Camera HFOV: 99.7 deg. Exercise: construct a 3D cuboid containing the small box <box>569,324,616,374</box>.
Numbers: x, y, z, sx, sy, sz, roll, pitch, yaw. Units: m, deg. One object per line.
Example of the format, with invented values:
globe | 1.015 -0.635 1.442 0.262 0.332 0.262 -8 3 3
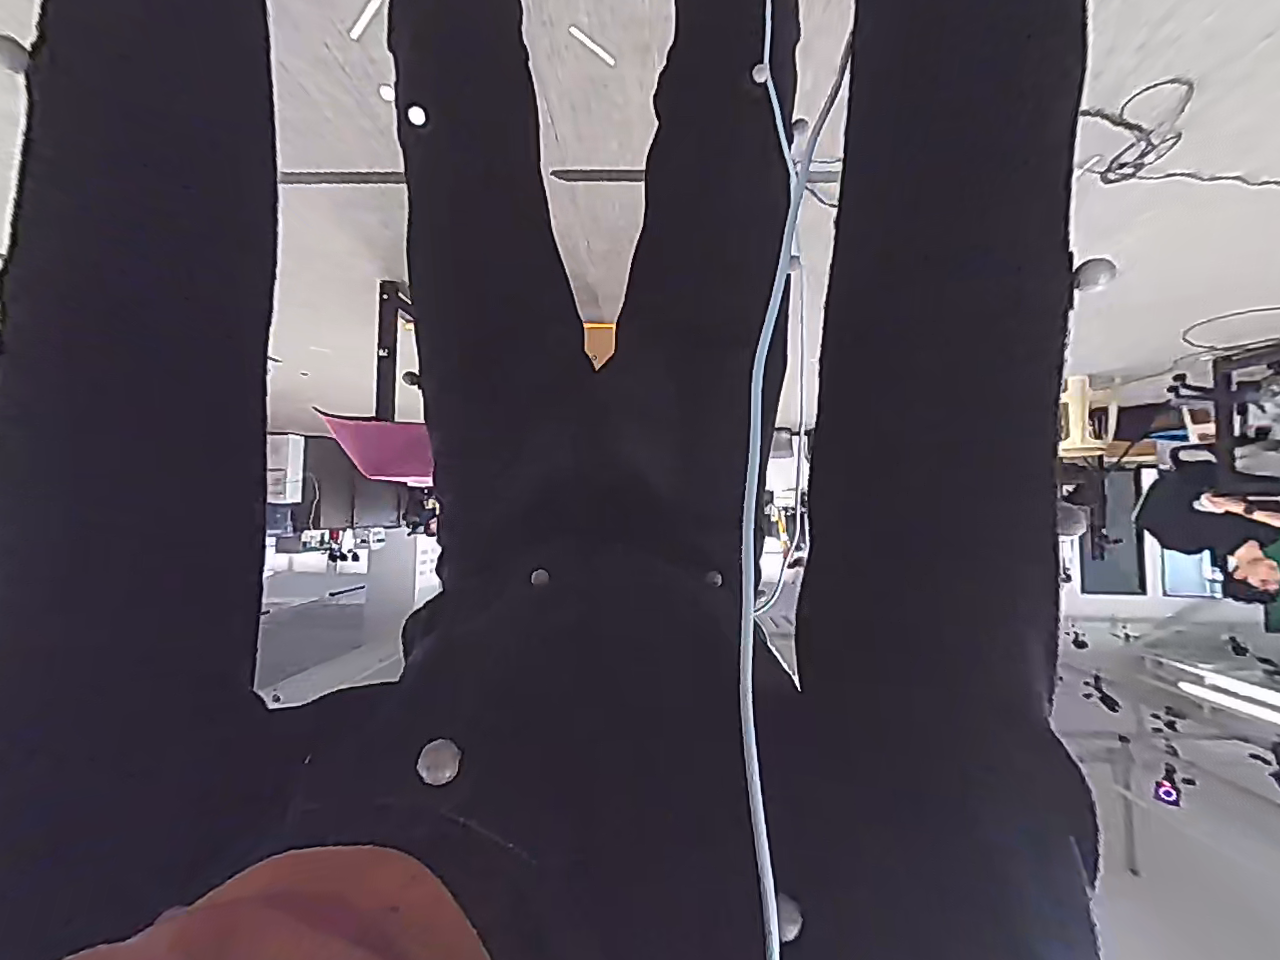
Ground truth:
small box | -0.192 -0.541 2.243 0.179 0.176 0.168 3 178 5
